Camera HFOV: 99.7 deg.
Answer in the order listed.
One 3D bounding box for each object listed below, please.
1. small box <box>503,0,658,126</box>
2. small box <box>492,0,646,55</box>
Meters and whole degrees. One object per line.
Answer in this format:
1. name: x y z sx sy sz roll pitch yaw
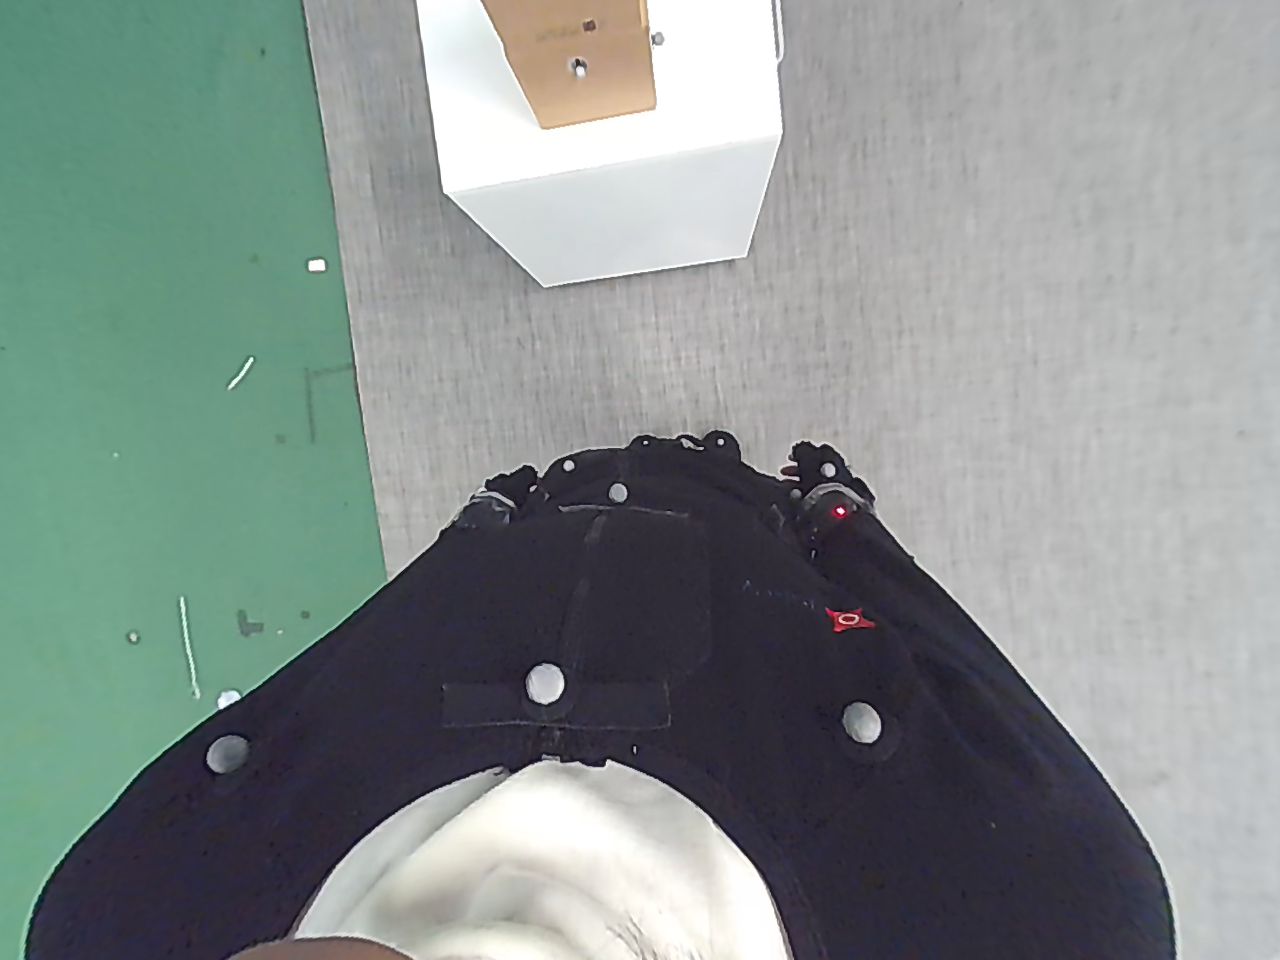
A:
1. small box: -0.075 -0.600 0.709 0.179 0.176 0.168 -6 95 6
2. small box: -0.089 -0.589 0.548 0.168 0.176 0.179 -8 95 6
